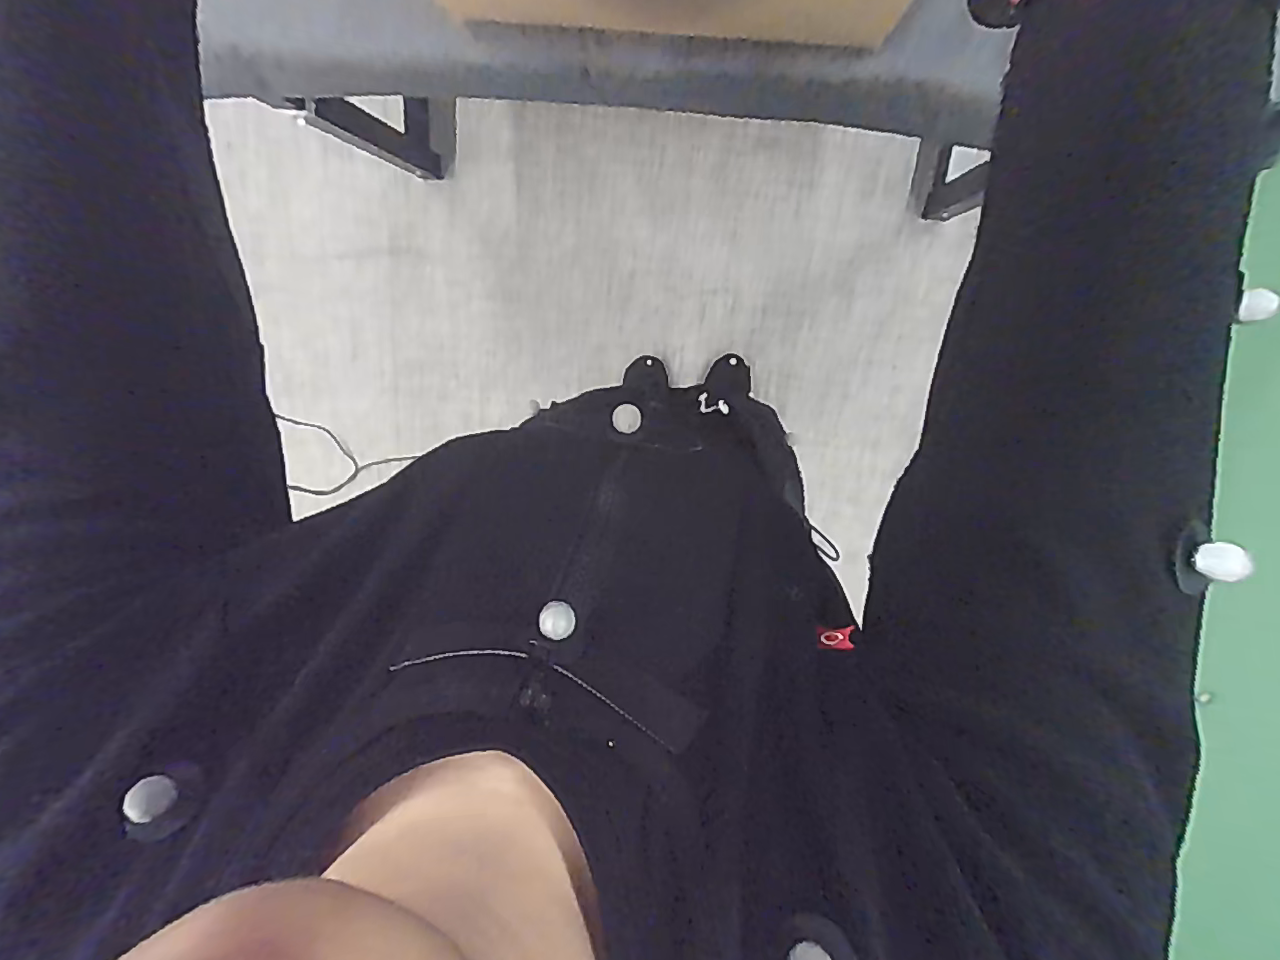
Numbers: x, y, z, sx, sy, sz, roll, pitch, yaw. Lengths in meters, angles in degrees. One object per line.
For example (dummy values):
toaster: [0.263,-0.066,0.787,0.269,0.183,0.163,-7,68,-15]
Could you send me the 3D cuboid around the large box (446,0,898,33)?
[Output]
large box: [0.015,-0.513,0.317,0.408,0.320,0.320,6,113,4]
